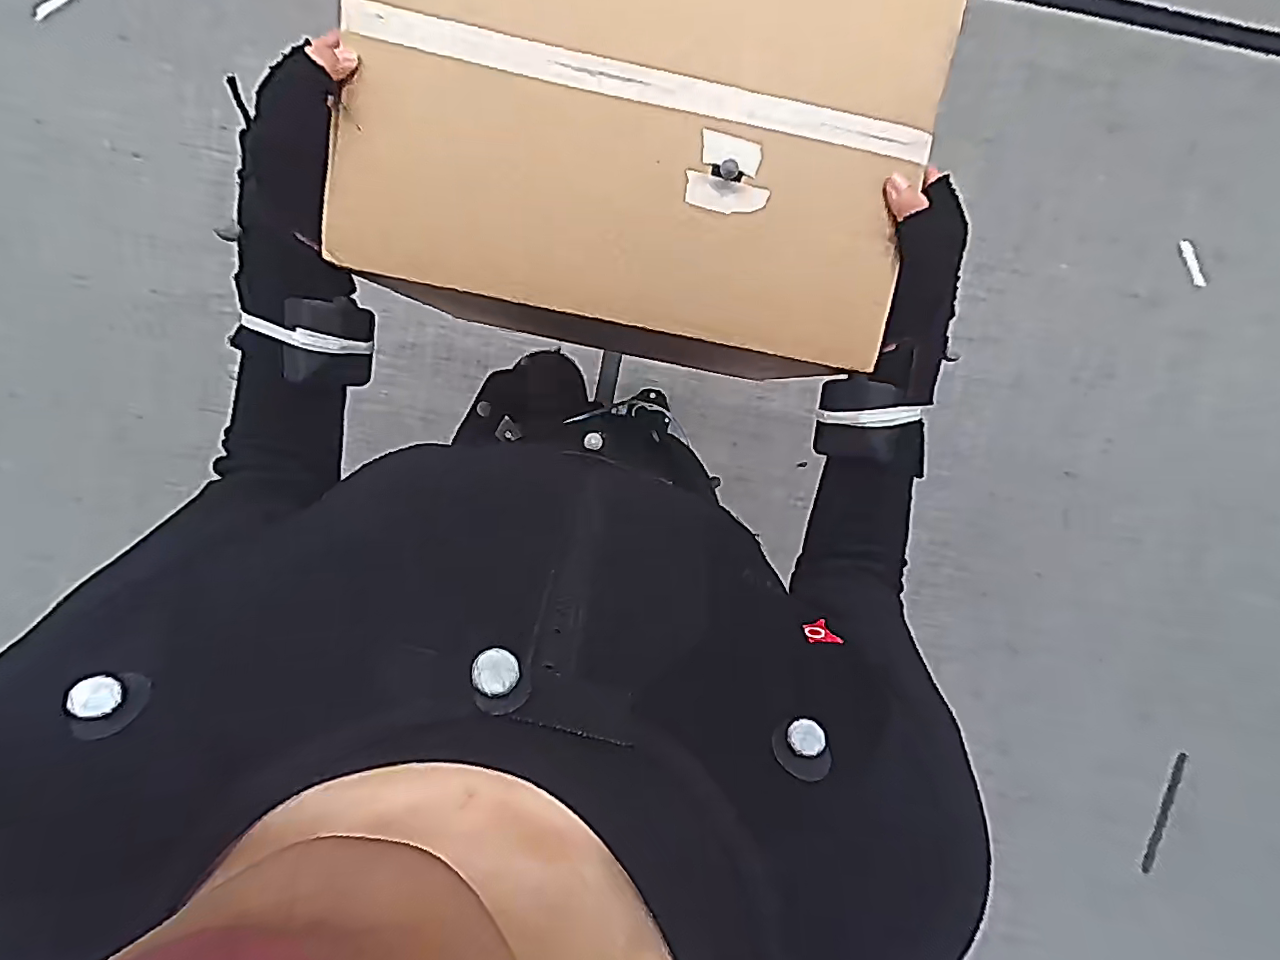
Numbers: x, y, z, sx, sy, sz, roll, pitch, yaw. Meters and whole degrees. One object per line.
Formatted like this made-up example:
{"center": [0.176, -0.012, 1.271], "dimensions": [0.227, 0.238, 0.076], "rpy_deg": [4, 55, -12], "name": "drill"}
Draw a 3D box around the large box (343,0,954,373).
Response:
{"center": [-0.002, -0.294, 0.525], "dimensions": [0.408, 0.320, 0.320], "rpy_deg": [10, 100, -5], "name": "large box"}
